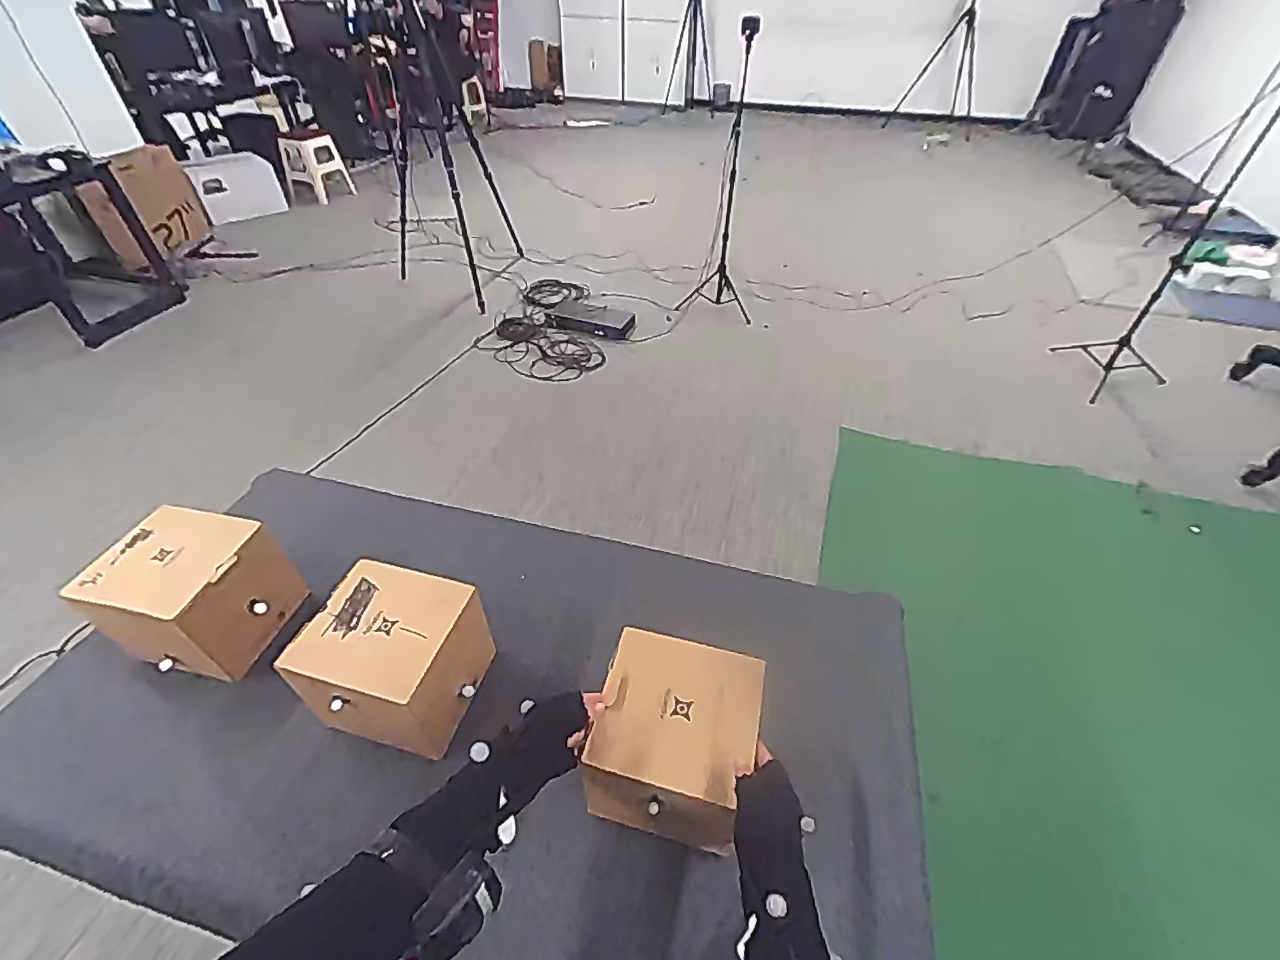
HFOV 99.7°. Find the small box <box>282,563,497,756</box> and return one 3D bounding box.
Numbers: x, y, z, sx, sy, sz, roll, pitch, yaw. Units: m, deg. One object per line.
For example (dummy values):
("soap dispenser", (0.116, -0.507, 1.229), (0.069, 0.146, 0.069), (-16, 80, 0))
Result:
("small box", (-0.315, 0.240, 0.722), (0.179, 0.176, 0.168), (11, 44, 10))

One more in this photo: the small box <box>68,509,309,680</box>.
("small box", (-0.634, 0.170, 0.791), (0.179, 0.176, 0.168), (10, 44, 8))

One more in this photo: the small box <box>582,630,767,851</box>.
("small box", (0.044, 0.311, 0.645), (0.179, 0.176, 0.168), (11, 44, 11))
